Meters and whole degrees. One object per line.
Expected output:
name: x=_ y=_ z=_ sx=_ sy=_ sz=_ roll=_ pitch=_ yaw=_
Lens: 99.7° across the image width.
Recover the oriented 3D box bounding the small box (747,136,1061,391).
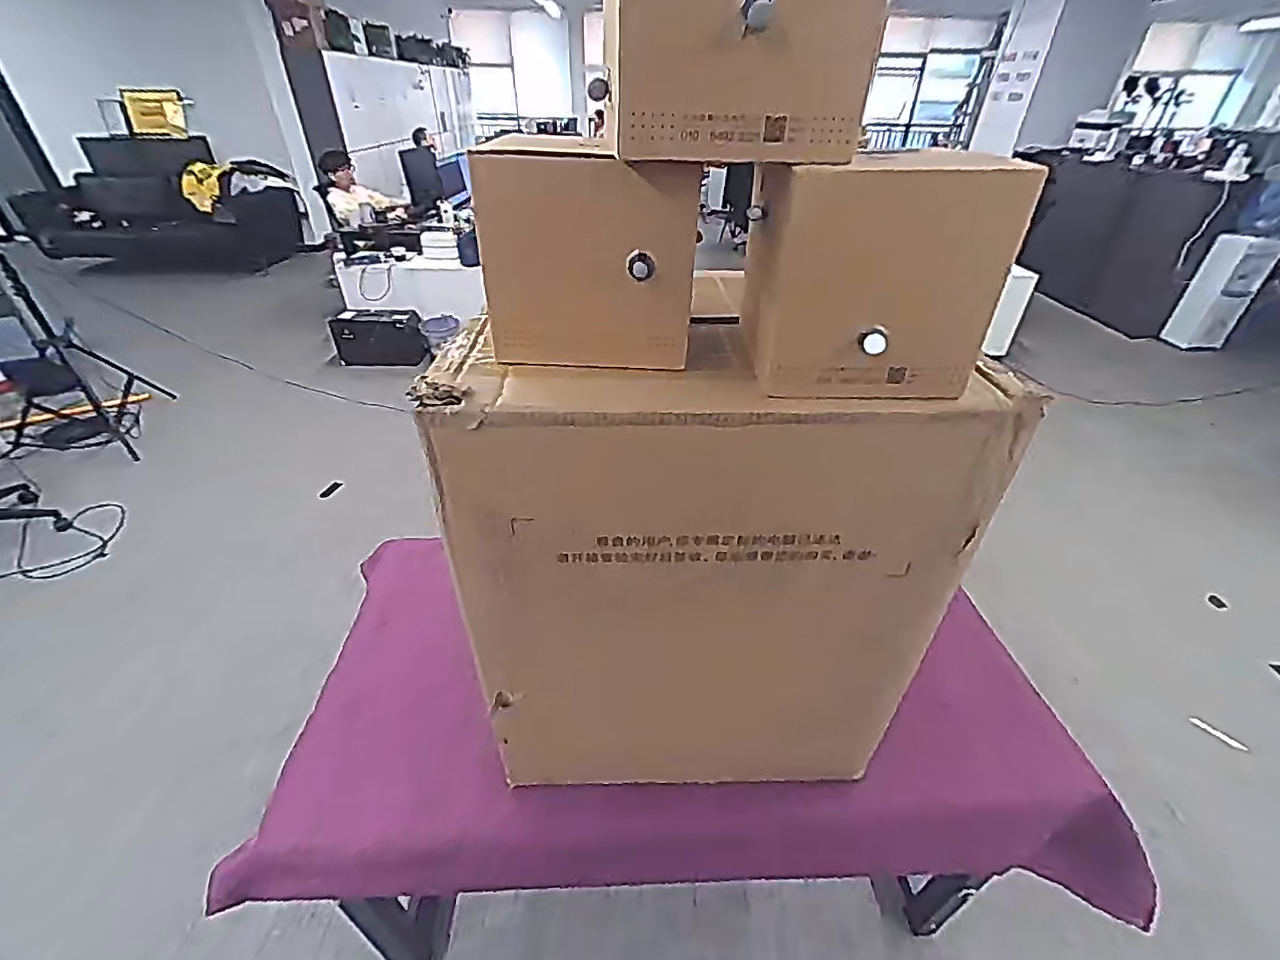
small box: x=0.191 y=-0.190 z=0.462 sx=0.168 sy=0.176 sz=0.179 roll=0 pitch=36 yaw=1

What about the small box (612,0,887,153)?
small box: x=0.066 y=-0.337 z=0.385 sx=0.168 sy=0.176 sz=0.179 roll=-2 pitch=36 yaw=-6

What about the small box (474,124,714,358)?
small box: x=-0.034 y=-0.221 z=0.499 sx=0.179 sy=0.176 sz=0.168 roll=2 pitch=35 yaw=0
